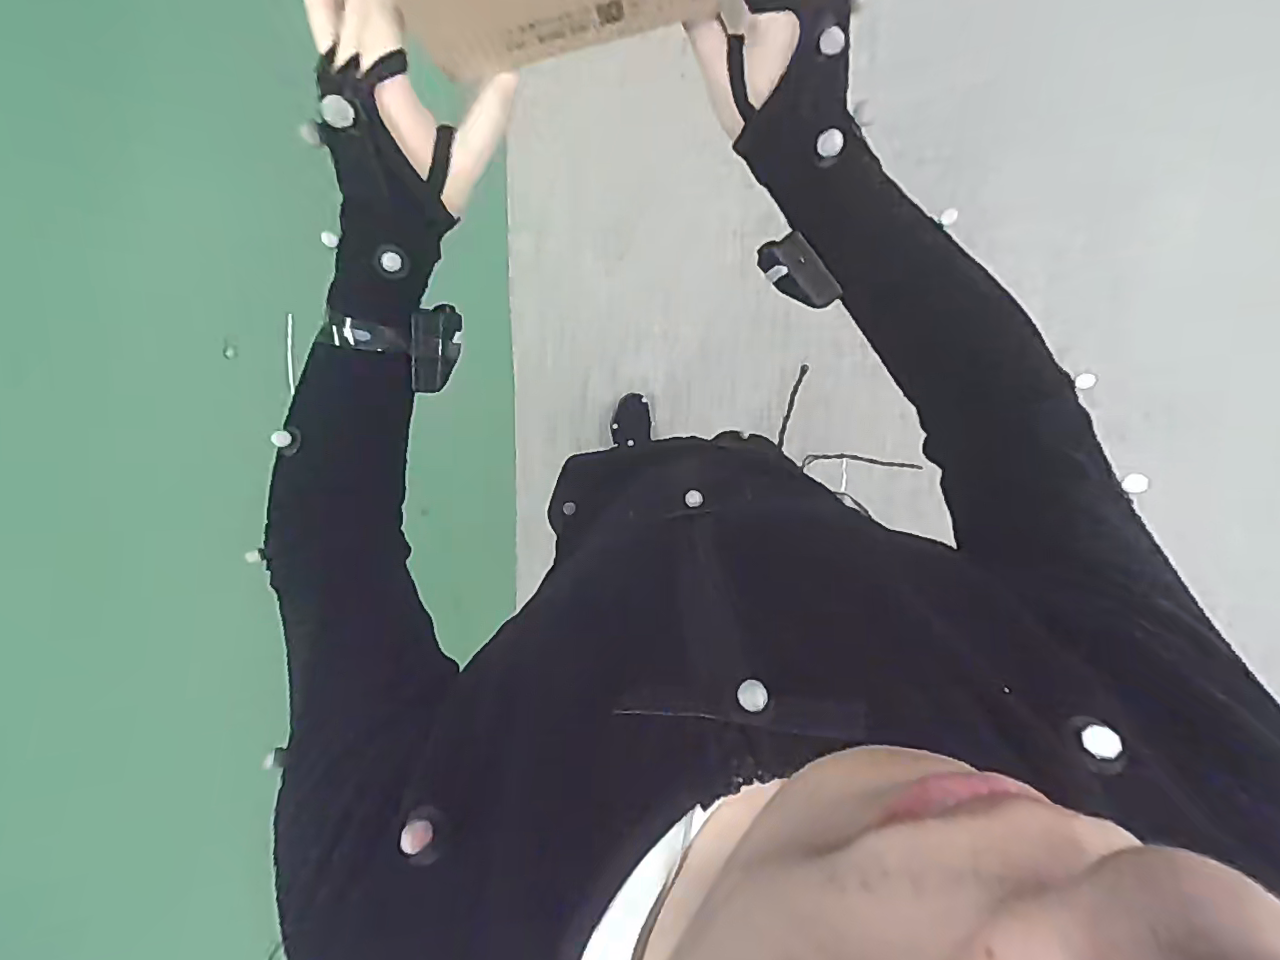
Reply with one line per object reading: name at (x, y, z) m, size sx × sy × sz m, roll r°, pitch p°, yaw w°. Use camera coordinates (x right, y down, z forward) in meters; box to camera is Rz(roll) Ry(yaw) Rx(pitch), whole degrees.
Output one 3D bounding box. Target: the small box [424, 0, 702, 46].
small box at (-0.053, -0.341, 0.240) m, size 0.168 × 0.176 × 0.179 m, roll -8°, pitch 90°, yaw 8°
